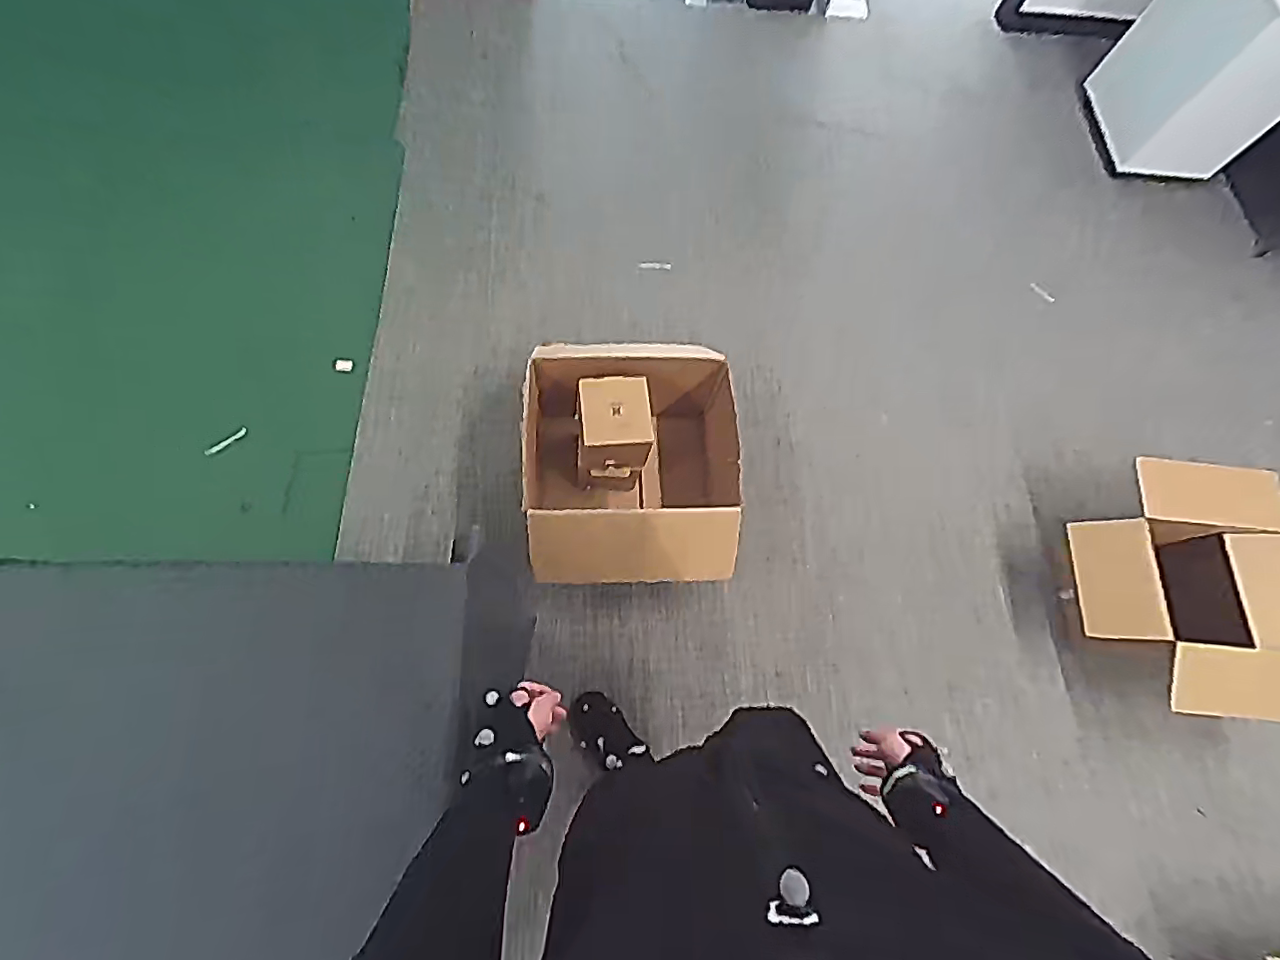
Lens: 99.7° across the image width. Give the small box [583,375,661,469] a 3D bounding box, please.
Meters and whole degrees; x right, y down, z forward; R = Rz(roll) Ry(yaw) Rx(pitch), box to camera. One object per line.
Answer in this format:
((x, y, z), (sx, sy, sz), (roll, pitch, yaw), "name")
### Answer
((-0.051, -0.141, 1.336), (0.168, 0.176, 0.179), (-4, 71, -9), "small box")
